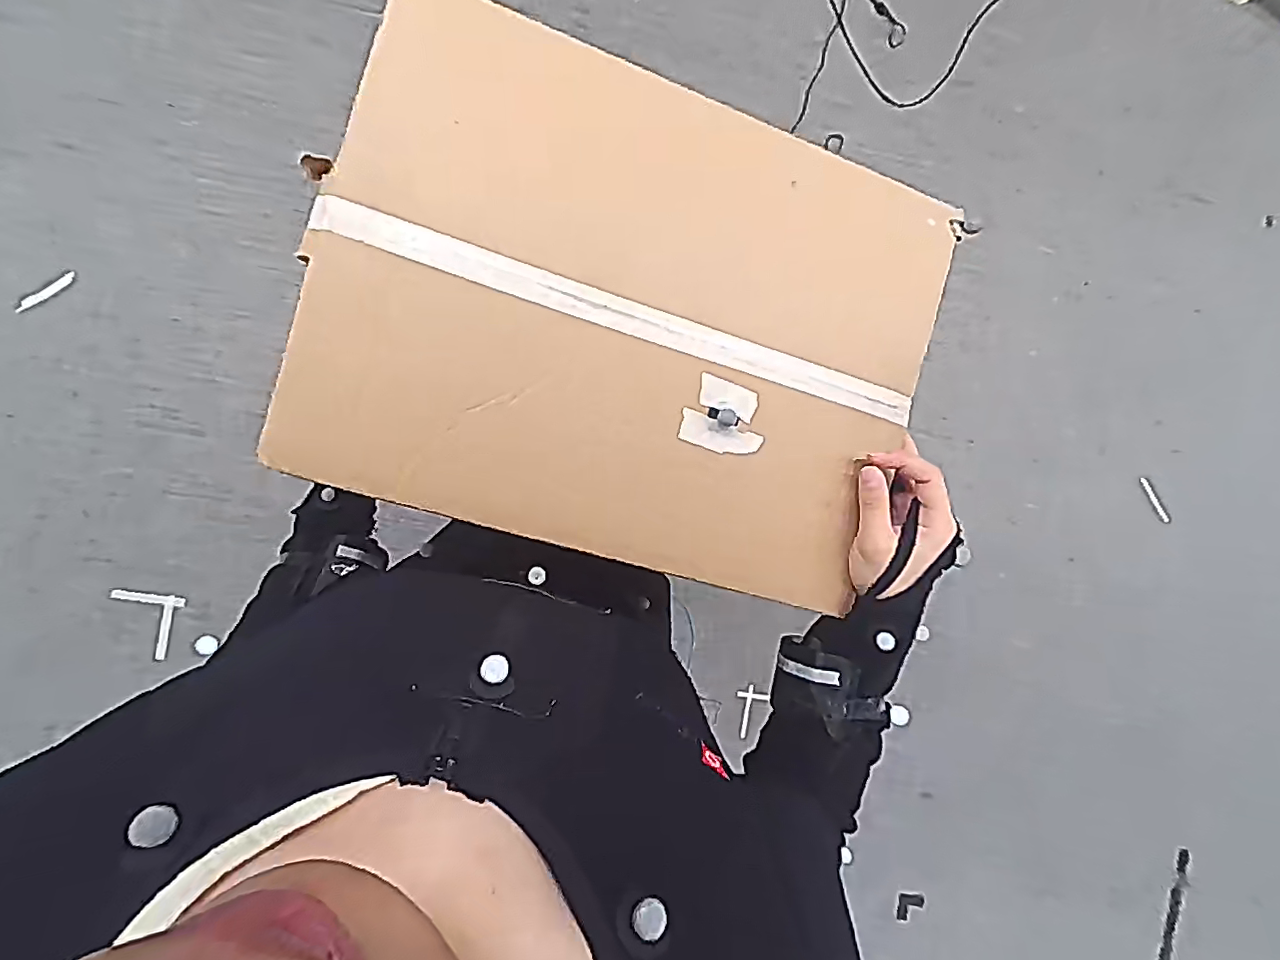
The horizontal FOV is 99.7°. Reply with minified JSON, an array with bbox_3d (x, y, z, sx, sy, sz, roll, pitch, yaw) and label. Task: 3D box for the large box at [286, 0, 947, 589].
[{"bbox_3d":[-0.022,-0.119,0.513,0.408,0.320,0.320,16,90,-12],"label":"large box"}]
